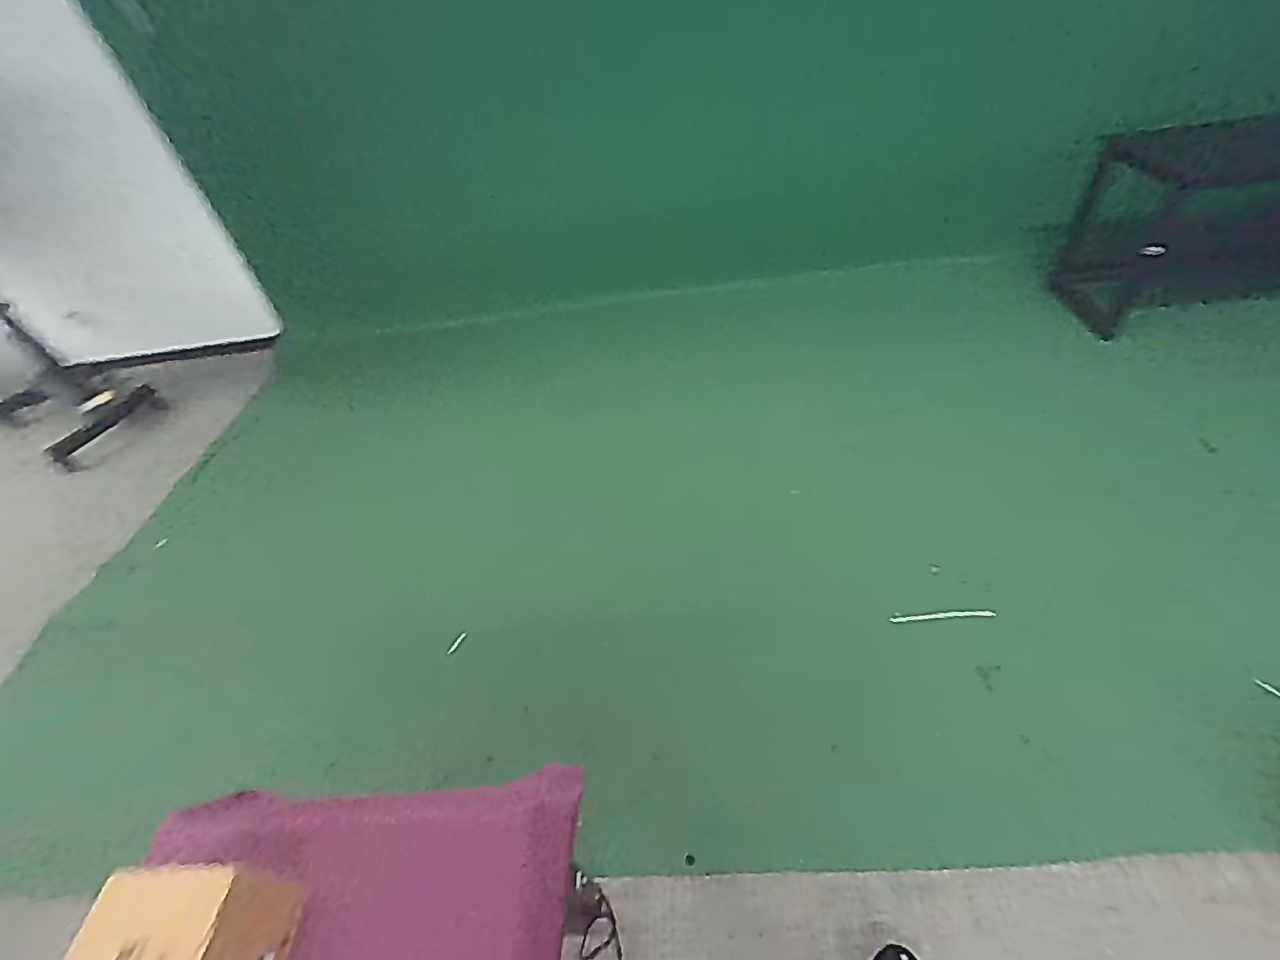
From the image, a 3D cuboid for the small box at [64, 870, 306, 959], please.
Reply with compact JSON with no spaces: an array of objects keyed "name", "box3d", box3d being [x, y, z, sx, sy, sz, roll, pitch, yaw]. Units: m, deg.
[{"name":"small box","box3d":[-0.570,0.602,0.672,0.179,0.176,0.168,-5,46,5]}]
